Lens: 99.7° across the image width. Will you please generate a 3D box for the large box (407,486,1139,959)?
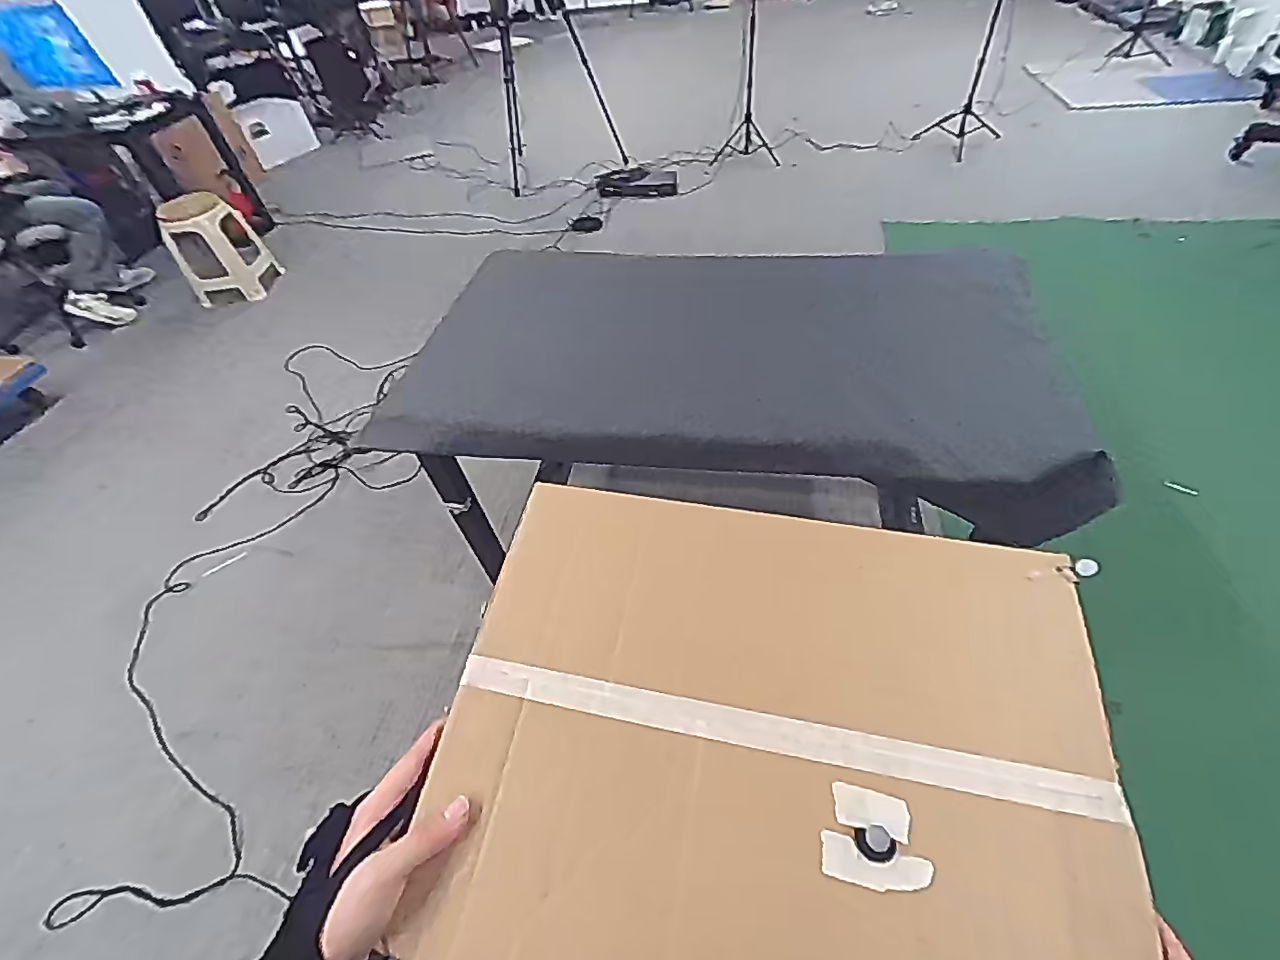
[{"bbox_3d":[0.093,0.233,0.485,0.408,0.320,0.320,8,60,10],"label":"large box"}]
